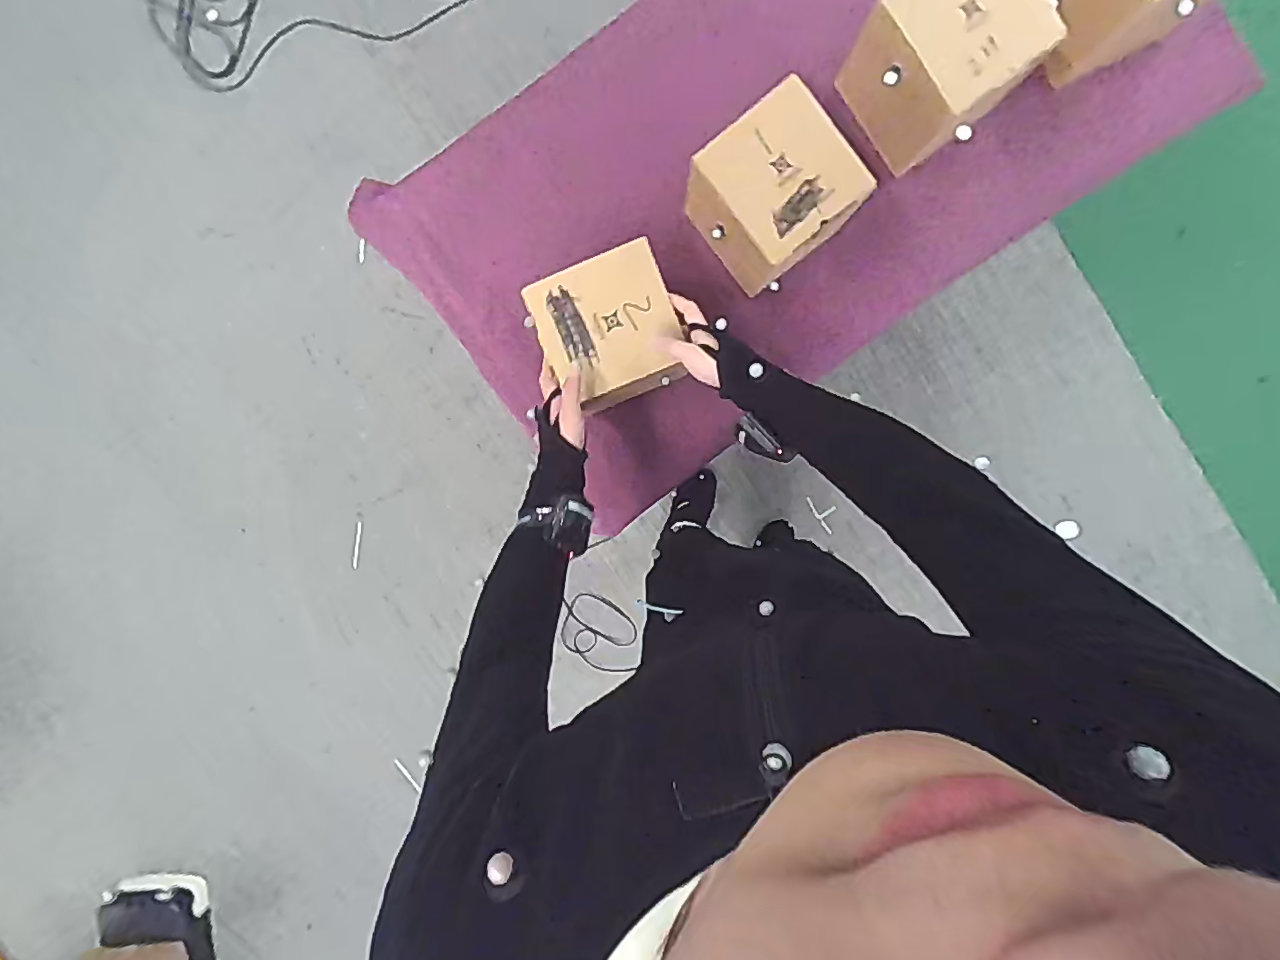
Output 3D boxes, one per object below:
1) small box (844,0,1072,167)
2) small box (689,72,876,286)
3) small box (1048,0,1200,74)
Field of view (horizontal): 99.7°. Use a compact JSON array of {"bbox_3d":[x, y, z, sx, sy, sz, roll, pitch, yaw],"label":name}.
[{"bbox_3d":[0.409,-0.576,0.731,0.168,0.176,0.179,-35,93,5],"label":"small box"},{"bbox_3d":[0.185,-0.396,0.756,0.168,0.176,0.179,-38,92,5],"label":"small box"},{"bbox_3d":[0.667,-0.697,0.712,0.179,0.176,0.168,-25,94,5],"label":"small box"}]
